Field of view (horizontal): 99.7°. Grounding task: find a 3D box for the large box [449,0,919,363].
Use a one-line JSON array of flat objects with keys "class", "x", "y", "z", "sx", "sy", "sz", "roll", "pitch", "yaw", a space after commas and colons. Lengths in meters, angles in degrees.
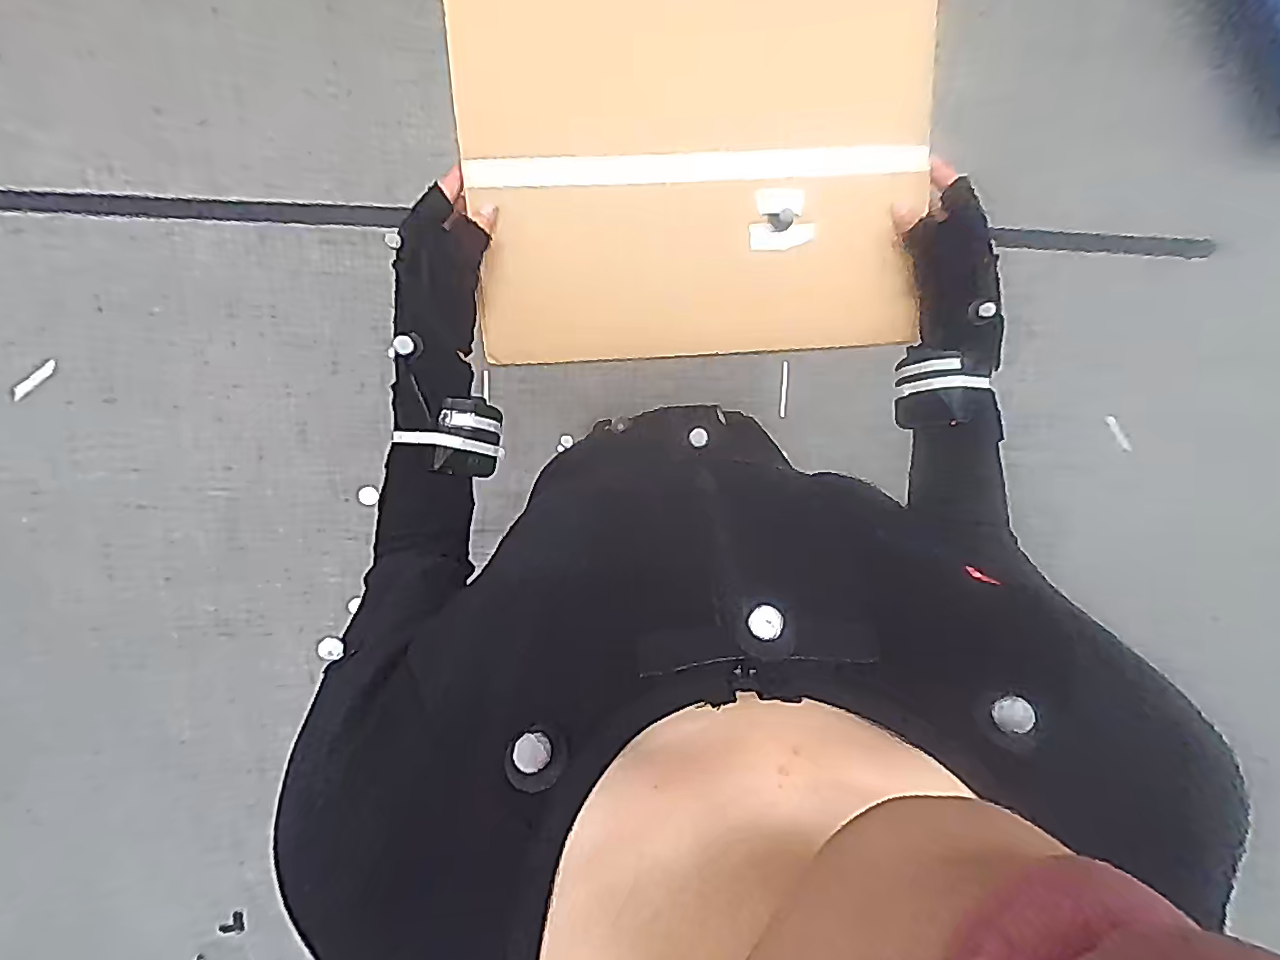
[{"class": "large box", "x": 0.037, "y": -0.306, "z": 0.621, "sx": 0.408, "sy": 0.320, "sz": 0.320, "roll": -5, "pitch": 103, "yaw": -5}]
